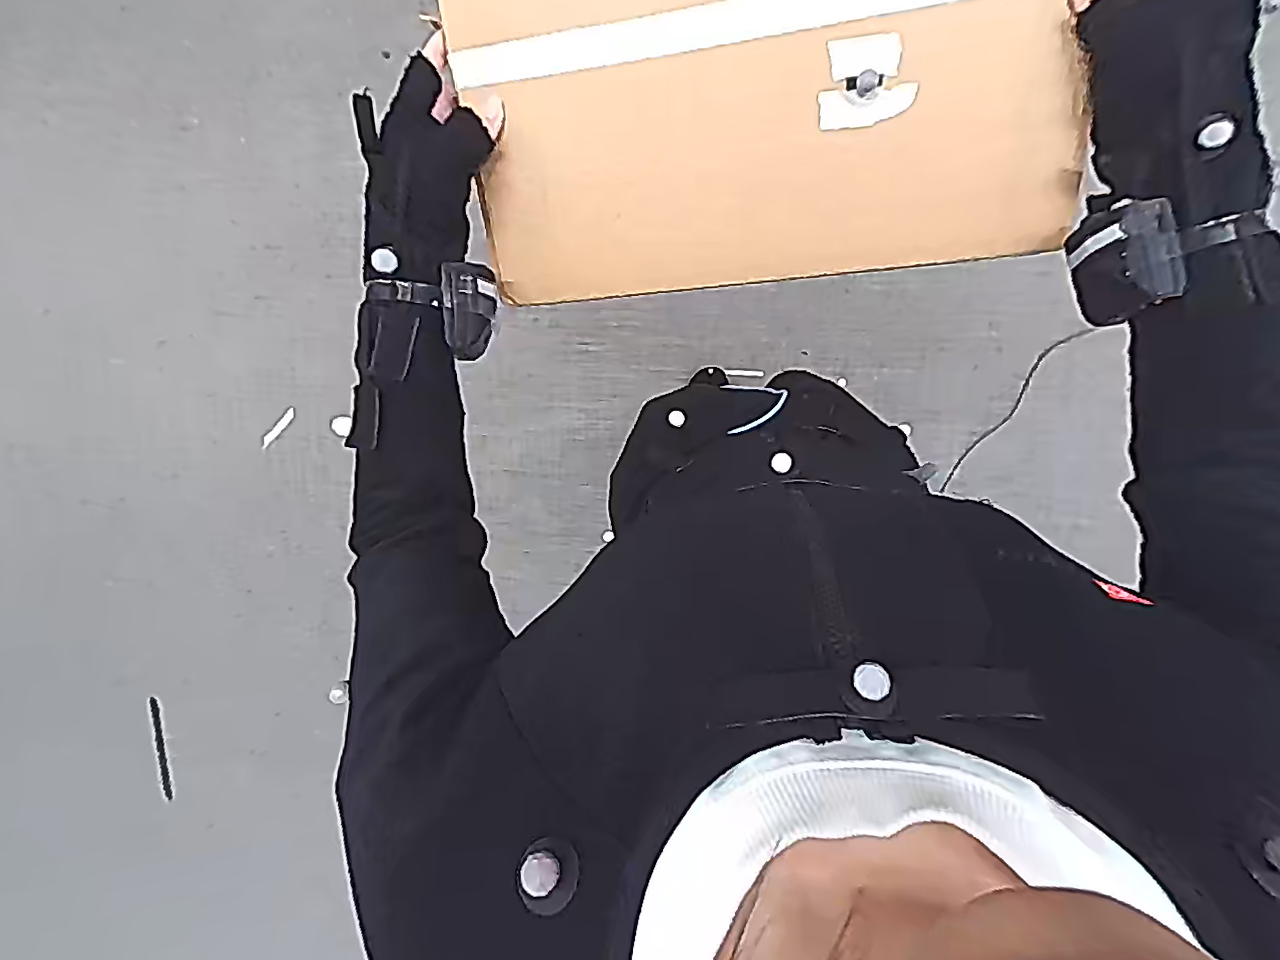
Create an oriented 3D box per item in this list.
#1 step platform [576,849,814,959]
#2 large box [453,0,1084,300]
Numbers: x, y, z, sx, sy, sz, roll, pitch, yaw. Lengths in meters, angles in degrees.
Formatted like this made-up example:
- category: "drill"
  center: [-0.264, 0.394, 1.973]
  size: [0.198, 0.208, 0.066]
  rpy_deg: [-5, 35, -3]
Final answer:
- category: "step platform"
  center: [0.155, 1.321, 1.586]
  size: [0.684, 0.204, 0.286]
  rpy_deg: [3, 100, 9]
- category: "large box"
  center: [0.089, -0.360, 0.486]
  size: [0.408, 0.320, 0.320]
  rpy_deg: [-4, 114, 9]
